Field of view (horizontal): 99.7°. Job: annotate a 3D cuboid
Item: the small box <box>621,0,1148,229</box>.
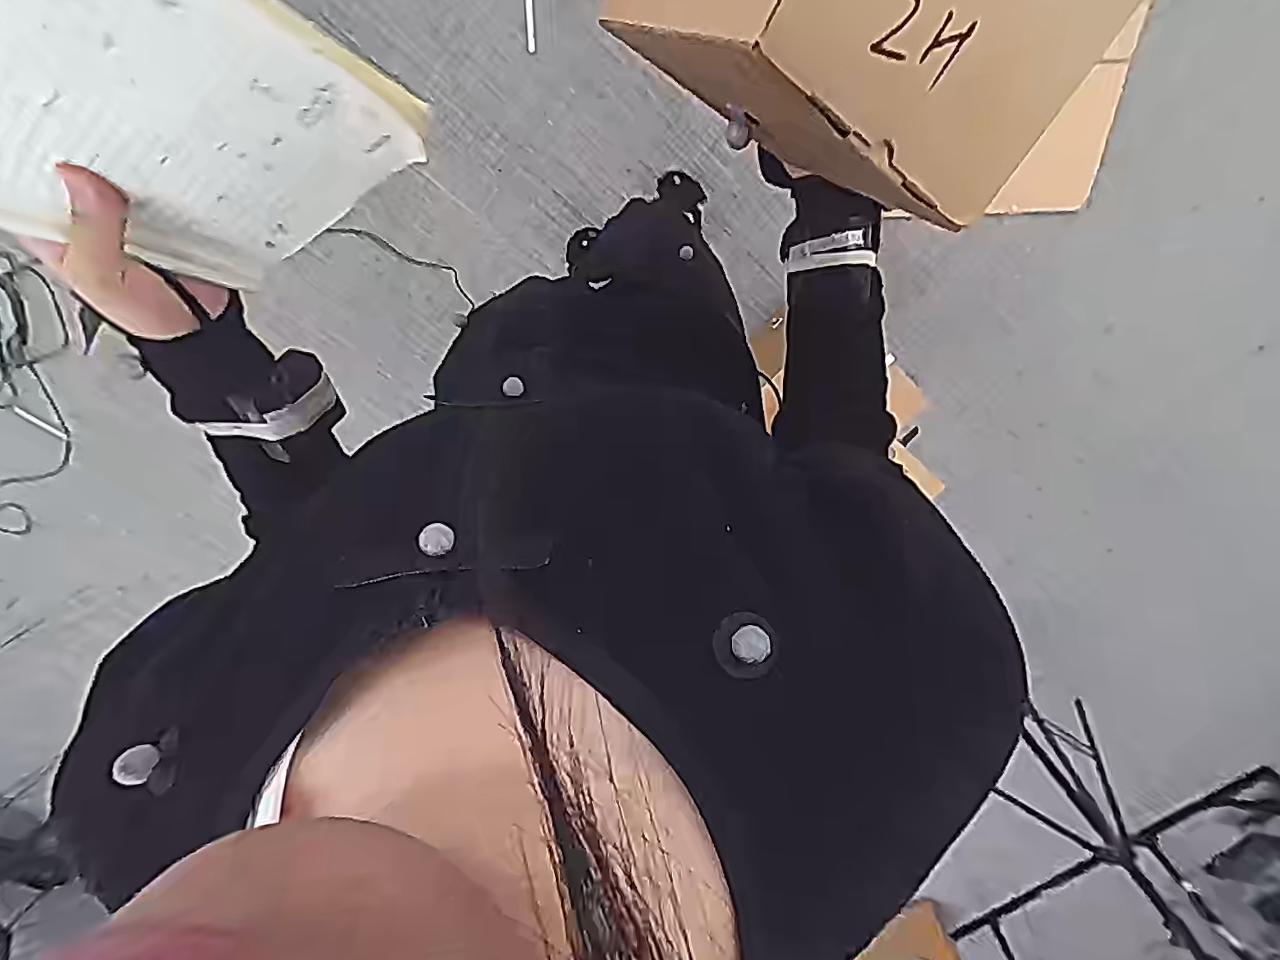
[{"bbox_3d":[0.114,-0.256,0.249,0.168,0.176,0.179,10,123,-35],"label":"small box"}]
